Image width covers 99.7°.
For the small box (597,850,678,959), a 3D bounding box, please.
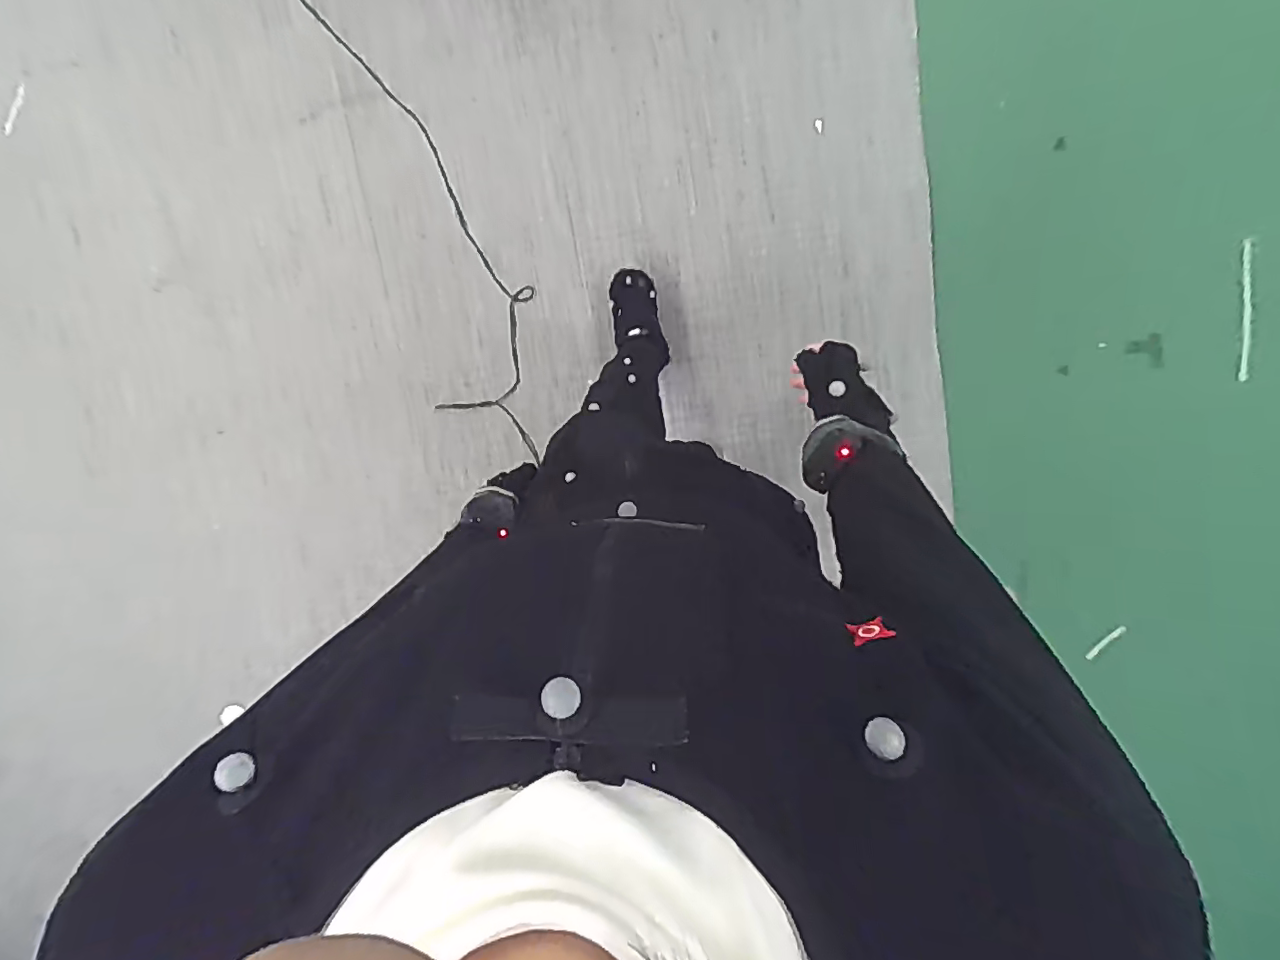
[{"bbox_3d":[0.001,1.097,1.402,0.179,0.176,0.168,-8,101,7],"label":"small box"}]
